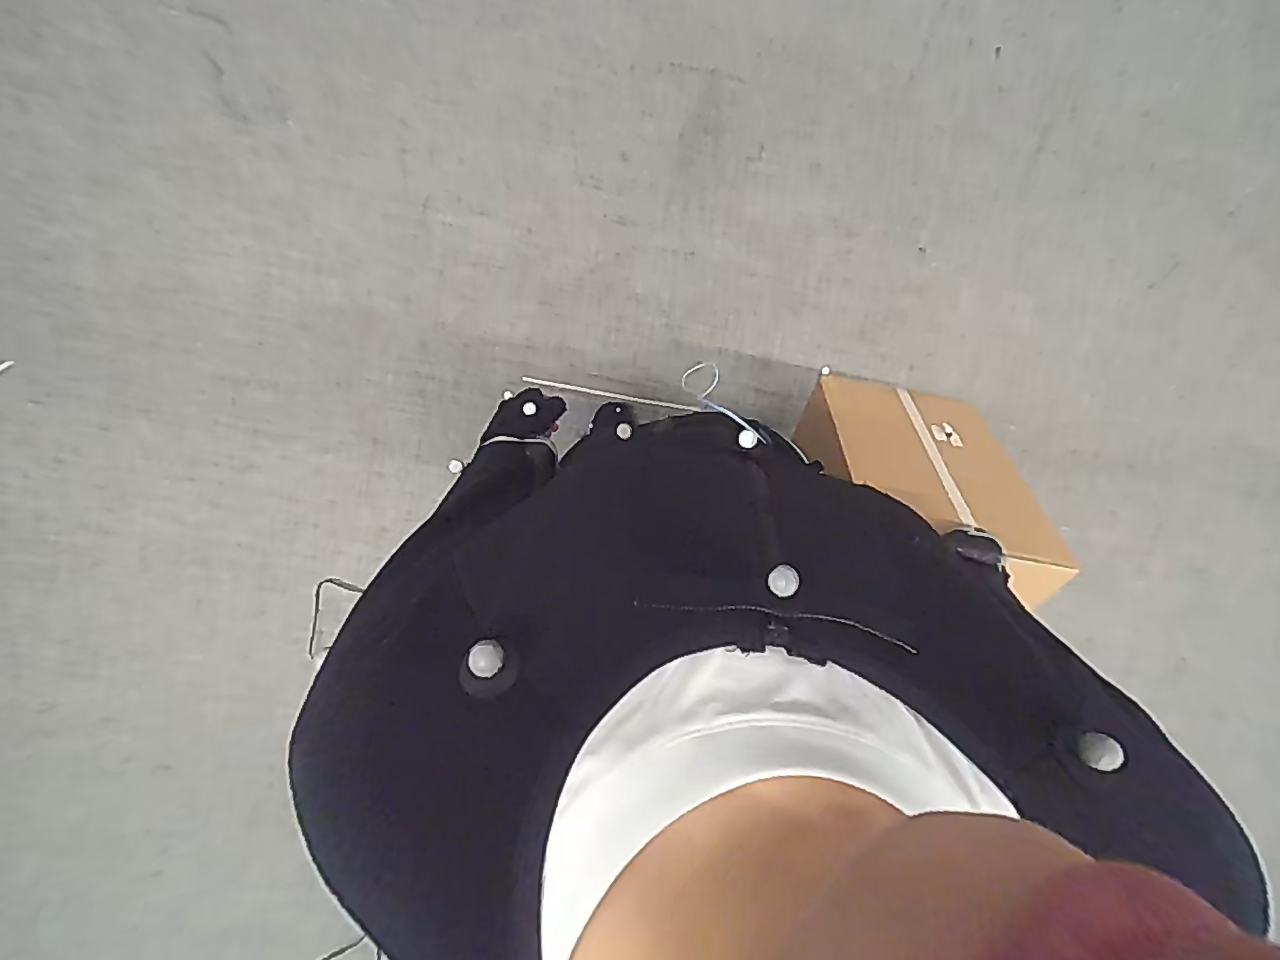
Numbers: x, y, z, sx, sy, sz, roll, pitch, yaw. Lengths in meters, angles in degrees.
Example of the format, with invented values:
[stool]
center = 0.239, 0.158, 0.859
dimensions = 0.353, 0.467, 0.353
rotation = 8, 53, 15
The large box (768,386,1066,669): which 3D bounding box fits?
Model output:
[large box]
center = 0.450, 0.083, 1.004
dimensions = 0.320, 0.408, 0.320
rotation = 10, 132, -4
